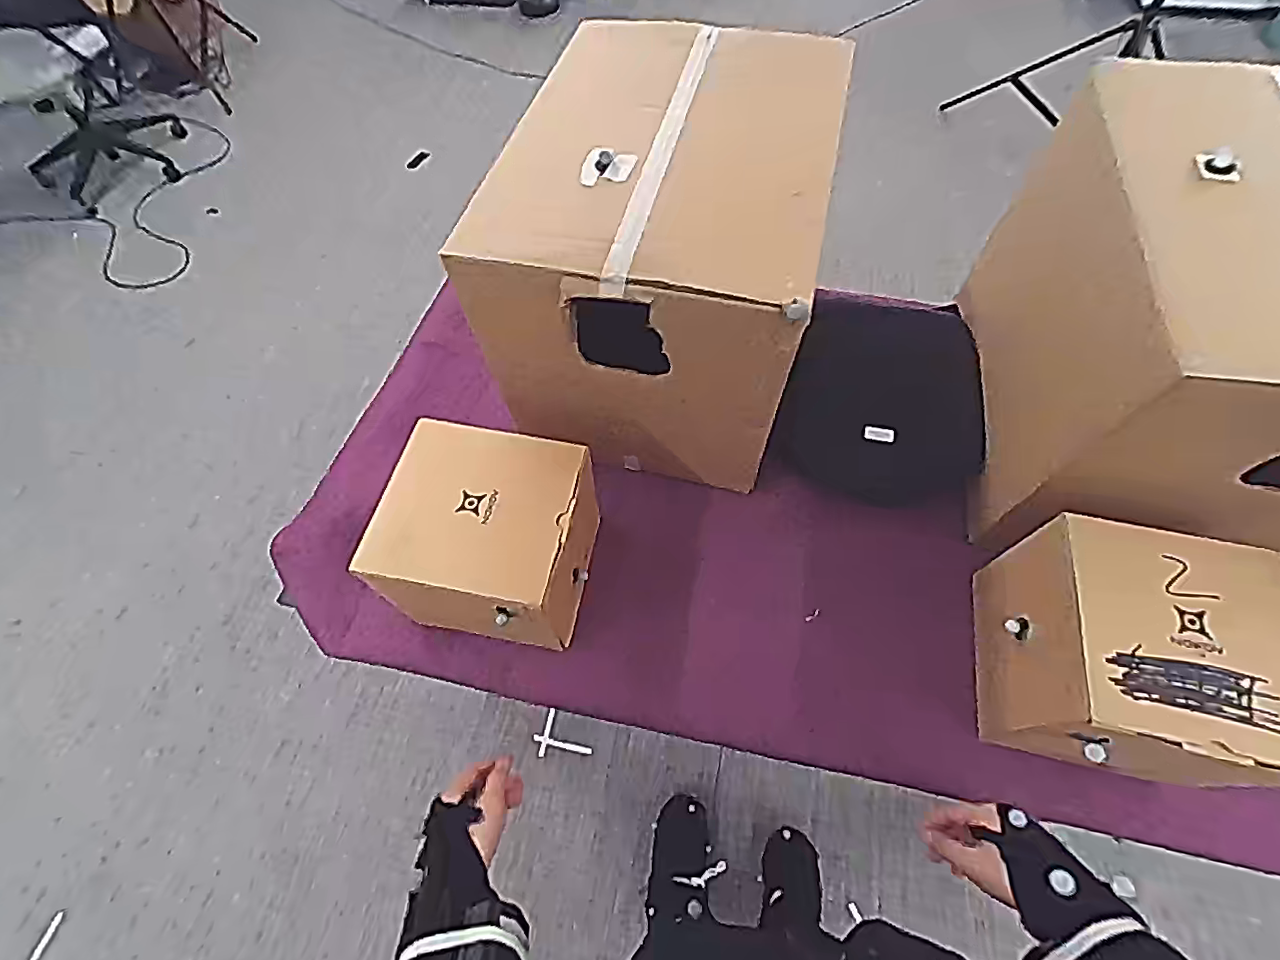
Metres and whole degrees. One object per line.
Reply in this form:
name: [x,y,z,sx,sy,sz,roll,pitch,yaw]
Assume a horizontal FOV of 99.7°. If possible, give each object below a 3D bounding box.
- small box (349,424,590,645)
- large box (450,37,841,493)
small box: [-0.158,0.065,0.573,0.179,0.176,0.168,10,61,4]
large box: [0.032,-0.248,0.661,0.320,0.320,0.408,11,65,10]
